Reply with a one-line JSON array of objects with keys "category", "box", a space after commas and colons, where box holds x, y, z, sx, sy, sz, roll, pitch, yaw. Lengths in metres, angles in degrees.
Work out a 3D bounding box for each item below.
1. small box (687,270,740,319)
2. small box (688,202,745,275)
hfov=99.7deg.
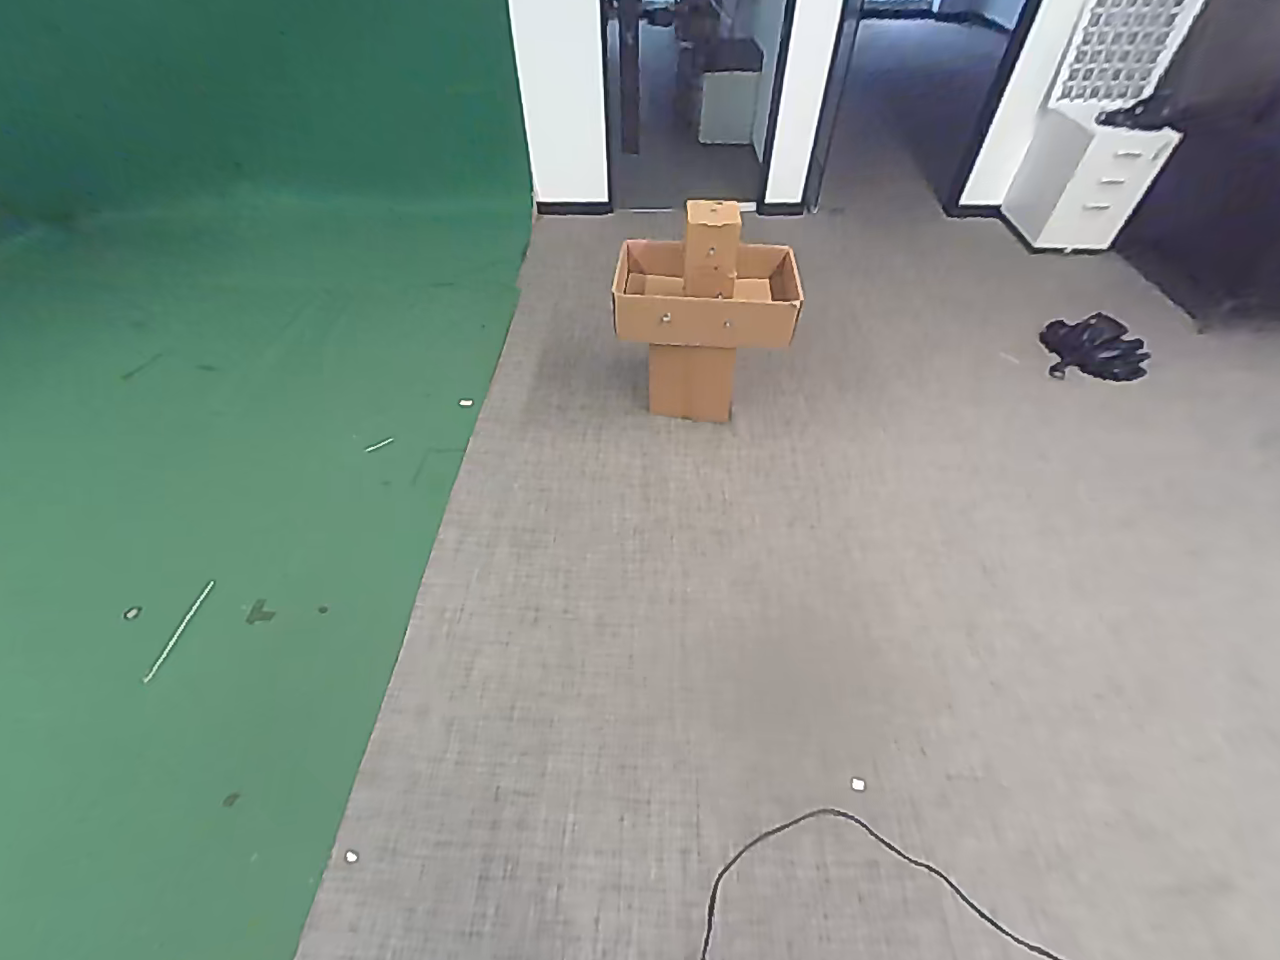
[{"category": "small box", "box": [0.254, -0.680, 1.897, 0.168, 0.176, 0.179, 2, 46, 1]}, {"category": "small box", "box": [0.248, -0.792, 1.777, 0.168, 0.176, 0.179, 3, 49, 1]}]
